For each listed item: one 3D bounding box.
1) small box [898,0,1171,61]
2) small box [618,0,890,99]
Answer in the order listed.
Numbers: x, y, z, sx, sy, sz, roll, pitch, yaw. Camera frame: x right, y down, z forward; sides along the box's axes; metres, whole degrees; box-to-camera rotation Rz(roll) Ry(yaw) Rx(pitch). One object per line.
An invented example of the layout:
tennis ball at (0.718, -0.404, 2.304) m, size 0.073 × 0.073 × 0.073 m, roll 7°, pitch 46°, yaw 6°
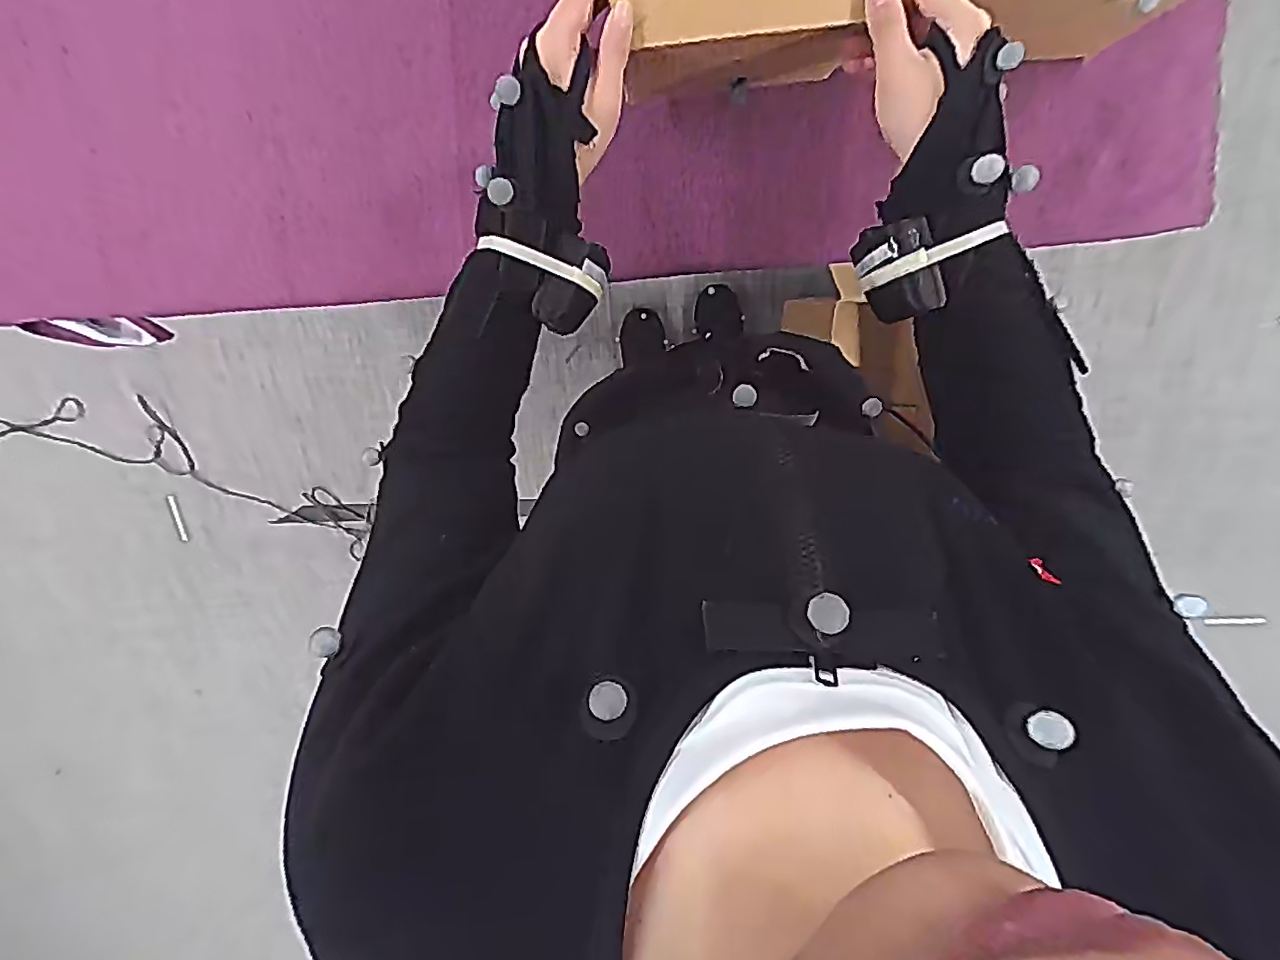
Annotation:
small box at (0.319, -0.440, 0.395) m, size 0.179 × 0.176 × 0.168 m, roll -1°, pitch 107°, yaw 3°
small box at (0.068, -0.388, 0.371) m, size 0.179 × 0.176 × 0.168 m, roll -3°, pitch 114°, yaw 5°
